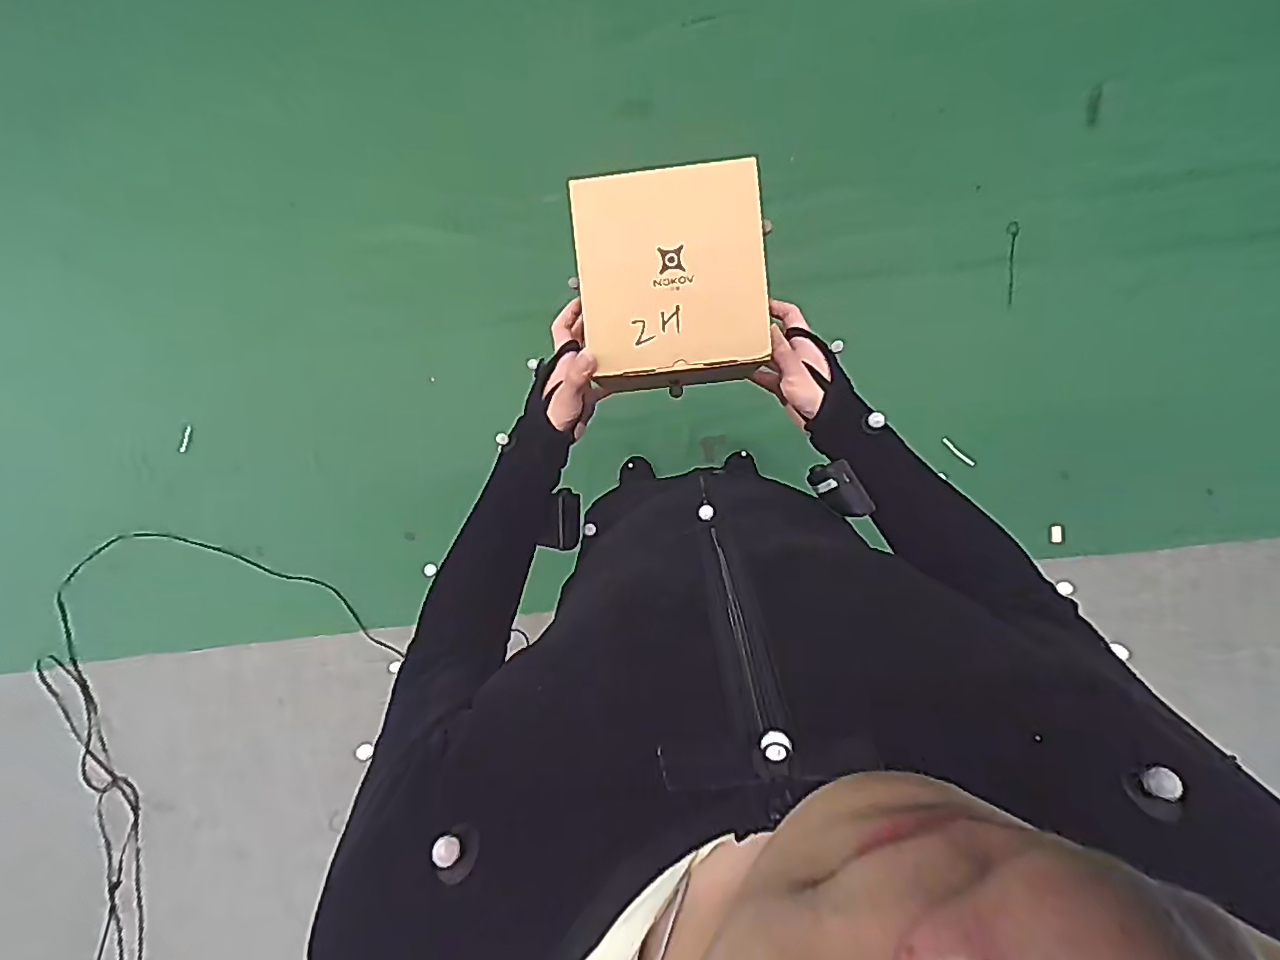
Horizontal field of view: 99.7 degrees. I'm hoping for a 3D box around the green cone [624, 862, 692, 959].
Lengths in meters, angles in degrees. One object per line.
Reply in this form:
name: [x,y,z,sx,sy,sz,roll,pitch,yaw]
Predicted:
green cone: [0.045,1.315,1.538,0.202,0.368,0.200,-7,92,4]
